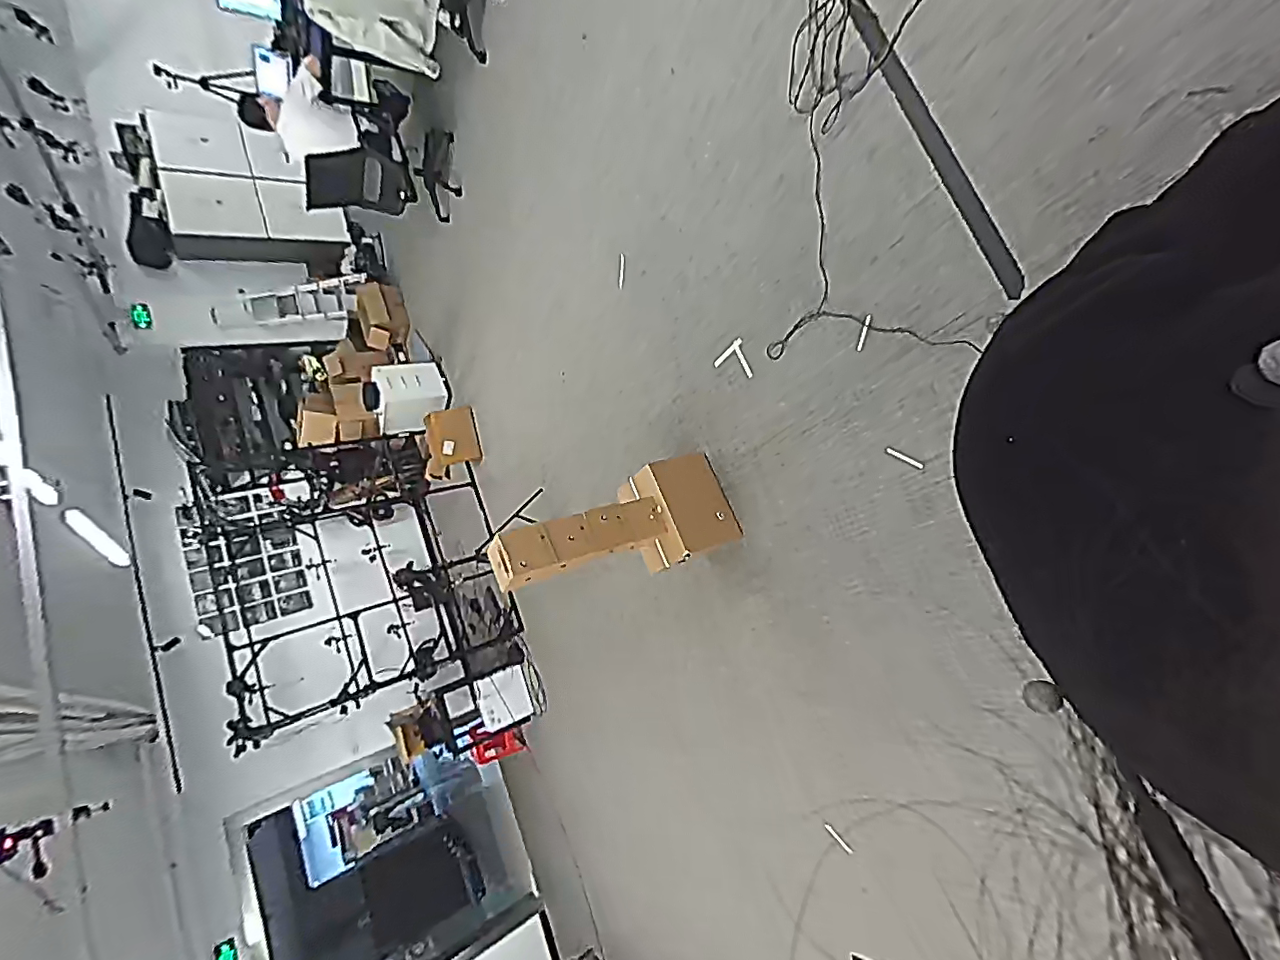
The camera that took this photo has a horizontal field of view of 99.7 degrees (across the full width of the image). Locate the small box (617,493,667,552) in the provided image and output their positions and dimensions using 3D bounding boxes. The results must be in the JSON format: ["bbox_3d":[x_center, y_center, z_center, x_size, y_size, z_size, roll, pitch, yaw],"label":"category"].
[{"bbox_3d":[-0.018,0.171,2.183,0.179,0.176,0.168,-41,68,52],"label":"small box"}]

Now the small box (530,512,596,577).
[{"bbox_3d":[-0.281,0.235,2.000,0.179,0.176,0.168,-49,60,50],"label":"small box"}]

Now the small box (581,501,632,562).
[{"bbox_3d":[-0.148,0.197,2.090,0.179,0.176,0.168,-44,64,53],"label":"small box"}]
